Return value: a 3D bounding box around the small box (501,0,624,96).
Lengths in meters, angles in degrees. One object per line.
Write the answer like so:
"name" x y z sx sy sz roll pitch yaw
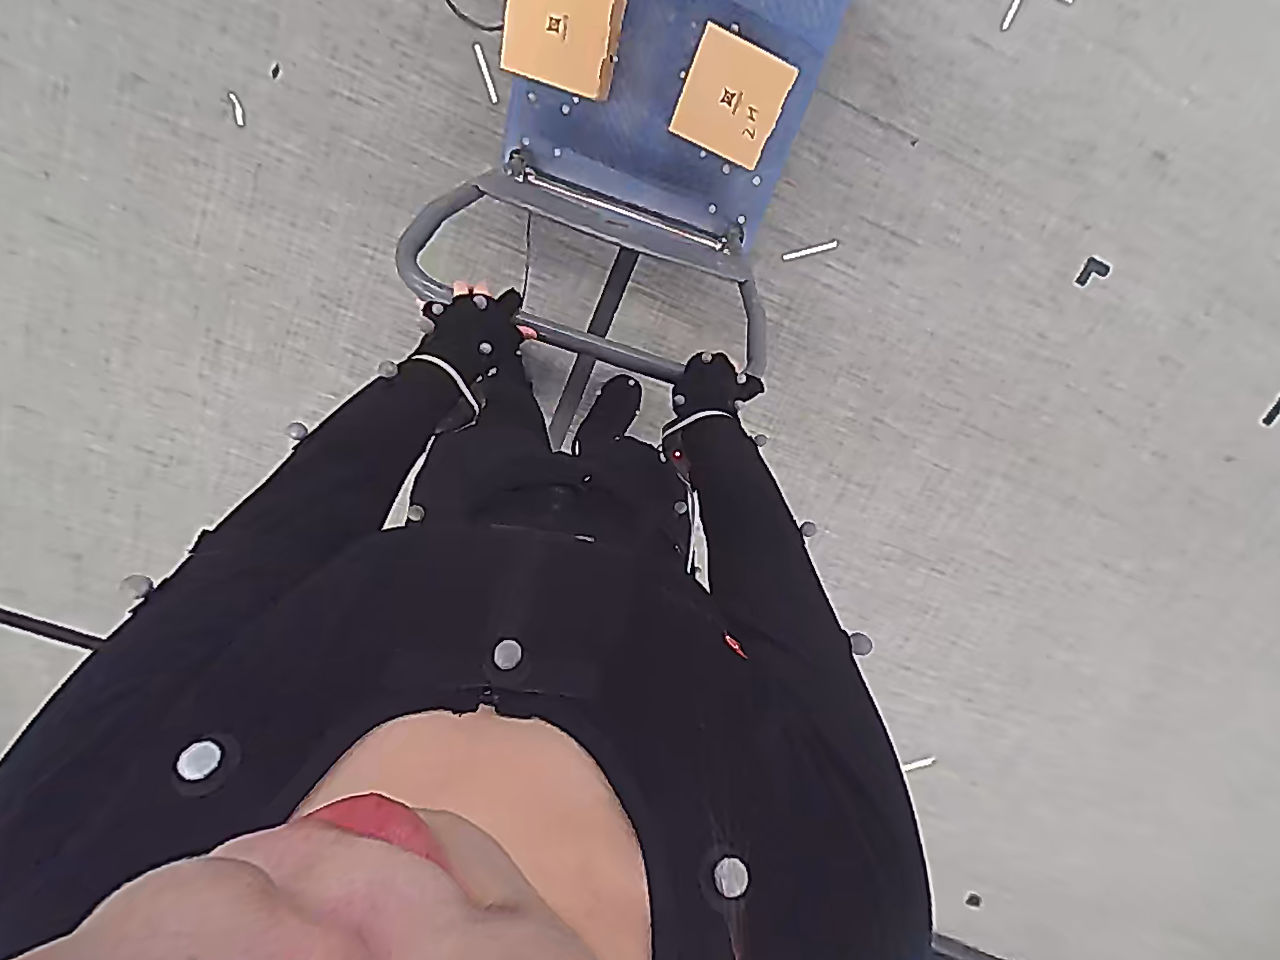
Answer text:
"small box" -0.133 -0.806 0.964 0.179 0.176 0.168 13 123 -7

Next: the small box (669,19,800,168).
"small box" 0.166 -0.710 1.008 0.179 0.176 0.168 21 123 -10
